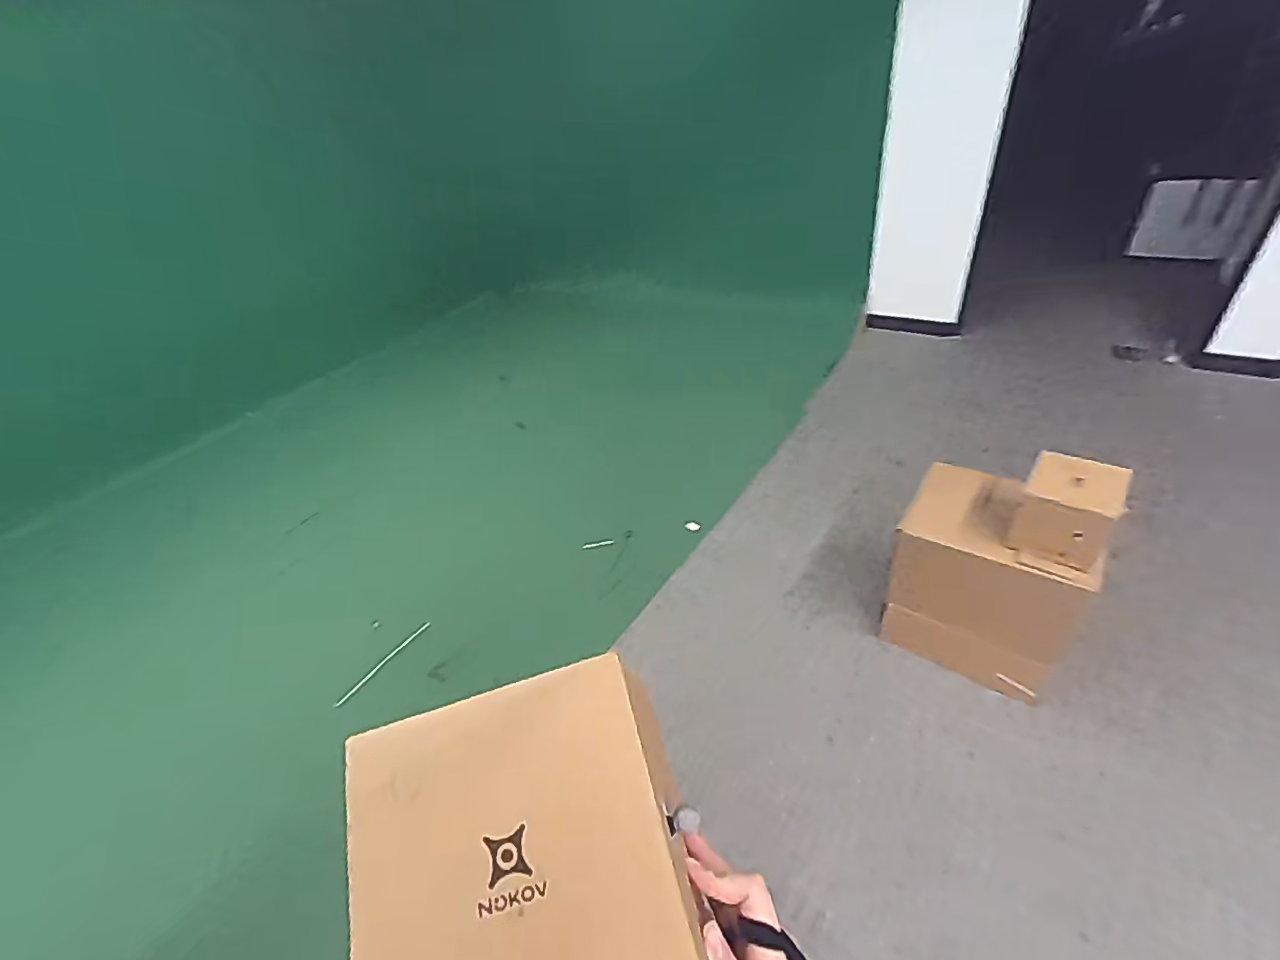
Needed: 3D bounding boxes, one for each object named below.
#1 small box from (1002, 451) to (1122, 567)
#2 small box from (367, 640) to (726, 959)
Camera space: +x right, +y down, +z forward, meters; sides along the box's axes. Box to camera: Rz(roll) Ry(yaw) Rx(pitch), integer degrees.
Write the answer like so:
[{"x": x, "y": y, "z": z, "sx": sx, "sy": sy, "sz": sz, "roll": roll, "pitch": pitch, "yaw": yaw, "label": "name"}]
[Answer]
[{"x": 0.944, "y": 0.065, "z": 1.220, "sx": 0.168, "sy": 0.176, "sz": 0.179, "roll": 22, "pitch": 48, "yaw": 36, "label": "small box"}, {"x": -0.052, "y": 0.226, "z": 0.350, "sx": 0.168, "sy": 0.176, "sz": 0.179, "roll": -17, "pitch": 63, "yaw": -3, "label": "small box"}]
